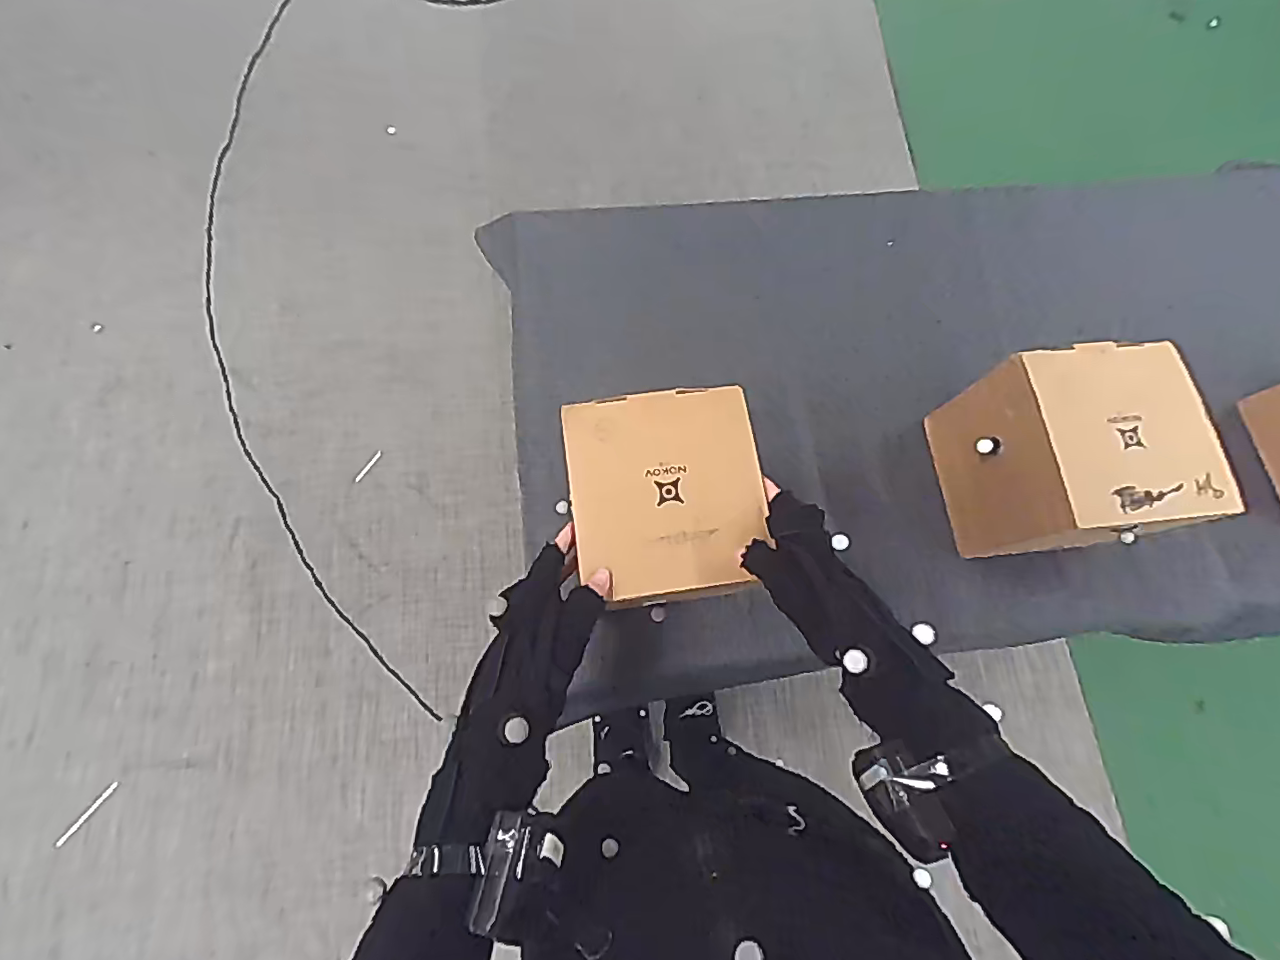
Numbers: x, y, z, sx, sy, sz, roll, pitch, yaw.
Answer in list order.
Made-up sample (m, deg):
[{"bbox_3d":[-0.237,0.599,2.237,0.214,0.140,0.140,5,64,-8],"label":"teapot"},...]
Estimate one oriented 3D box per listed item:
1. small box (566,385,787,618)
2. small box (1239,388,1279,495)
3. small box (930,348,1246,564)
[{"bbox_3d":[0.022,0.031,0.515,0.168,0.176,0.179,-6,73,-3],"label":"small box"},{"bbox_3d":[0.864,-0.047,0.606,0.168,0.176,0.179,-5,71,-4],"label":"small box"},{"bbox_3d":[0.445,-0.017,0.576,0.168,0.176,0.179,-5,72,-4],"label":"small box"}]
